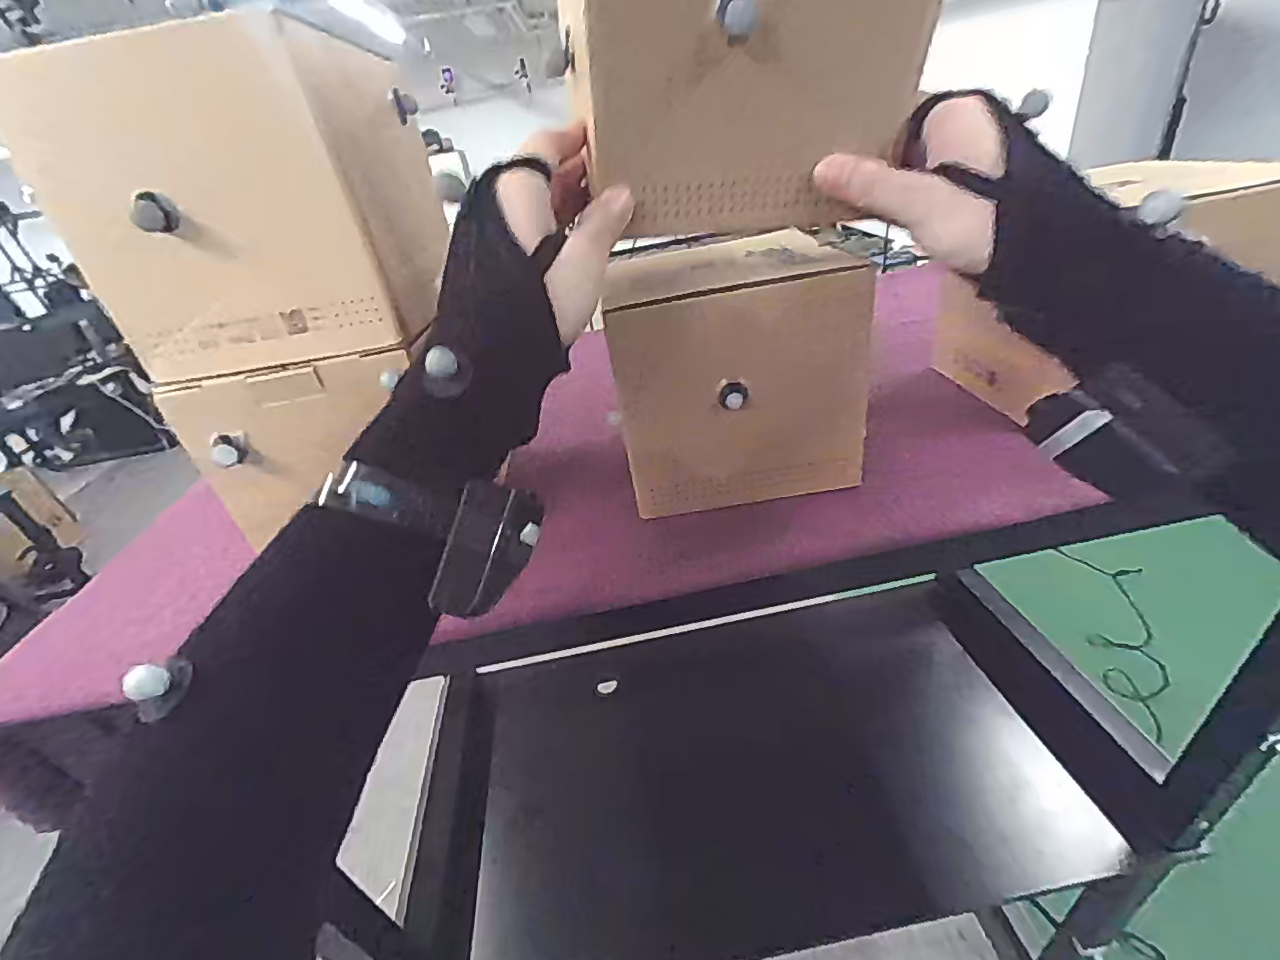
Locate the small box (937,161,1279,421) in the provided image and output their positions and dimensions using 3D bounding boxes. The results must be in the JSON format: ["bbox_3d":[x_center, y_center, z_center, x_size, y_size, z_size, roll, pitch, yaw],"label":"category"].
[{"bbox_3d":[0.381,-0.164,0.468,0.179,0.176,0.168,-9,32,4],"label":"small box"}]

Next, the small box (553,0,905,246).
[{"bbox_3d":[0.041,-0.257,0.328,0.179,0.176,0.168,-9,45,-5],"label":"small box"}]

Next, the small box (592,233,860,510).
[{"bbox_3d":[0.065,-0.095,0.455,0.179,0.176,0.168,-10,32,3],"label":"small box"}]

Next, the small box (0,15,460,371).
[{"bbox_3d":[-0.246,-0.185,0.380,0.168,0.176,0.179,-9,30,3],"label":"small box"}]
